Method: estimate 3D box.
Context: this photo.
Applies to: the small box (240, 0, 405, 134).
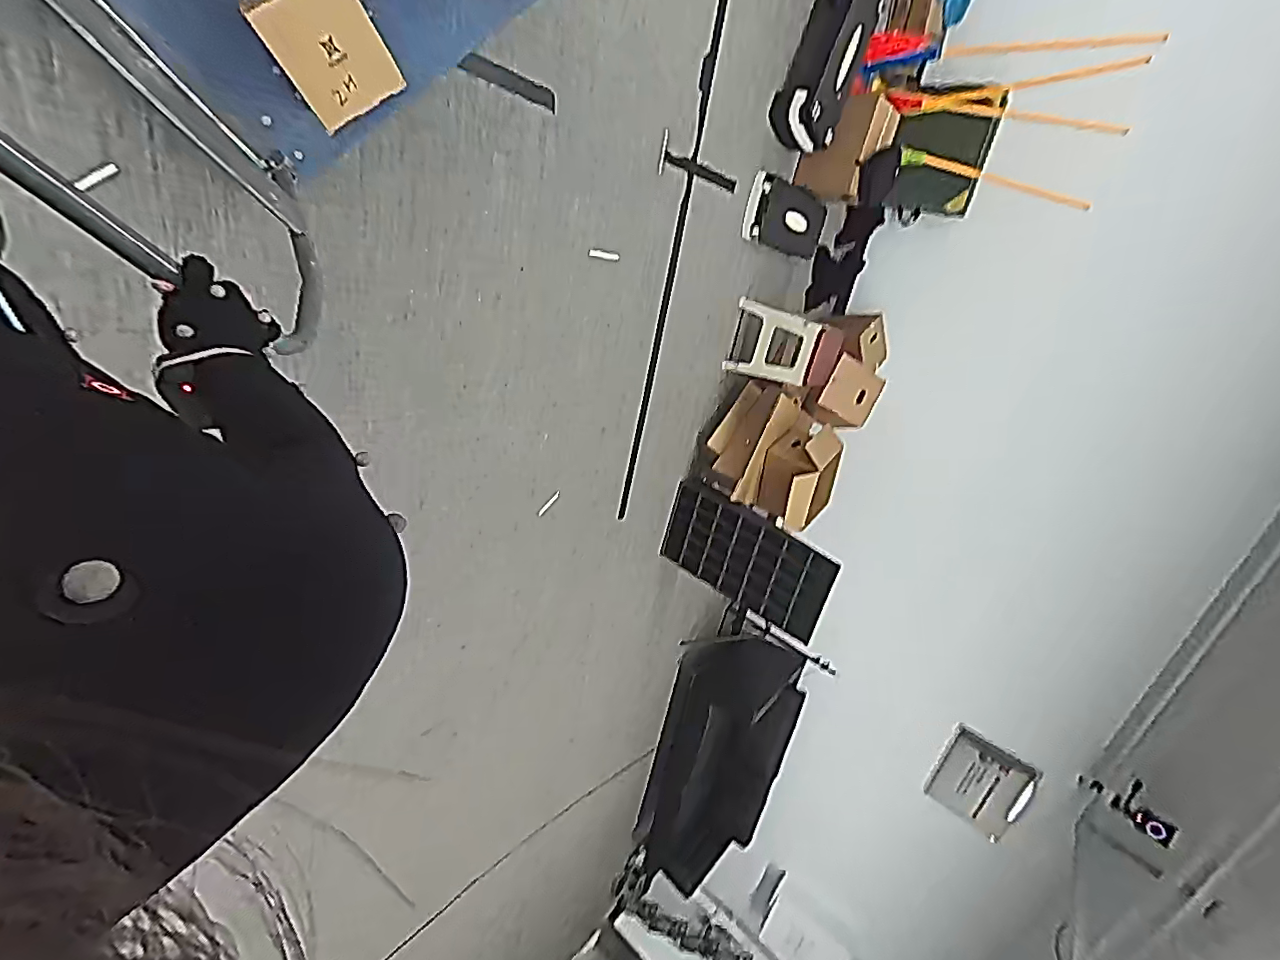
[{"bbox_3d":[-0.550,-0.747,0.936,0.168,0.176,0.179,-35,144,-5],"label":"small box"}]
